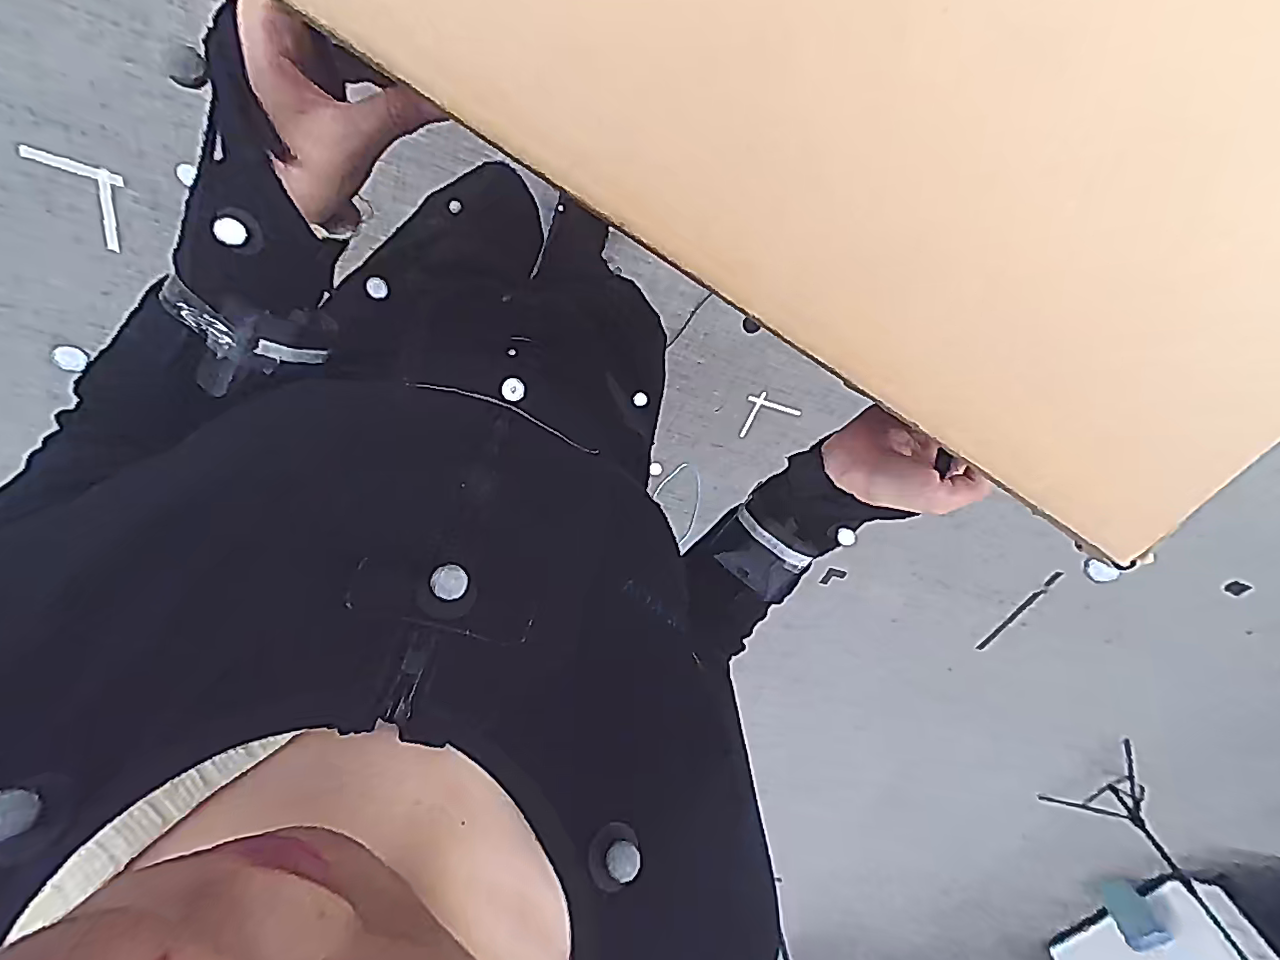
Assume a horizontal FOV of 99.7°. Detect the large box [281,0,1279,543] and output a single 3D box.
[{"bbox_3d":[0.100,-0.248,0.235,0.408,0.320,0.320,27,116,-15],"label":"large box"}]
